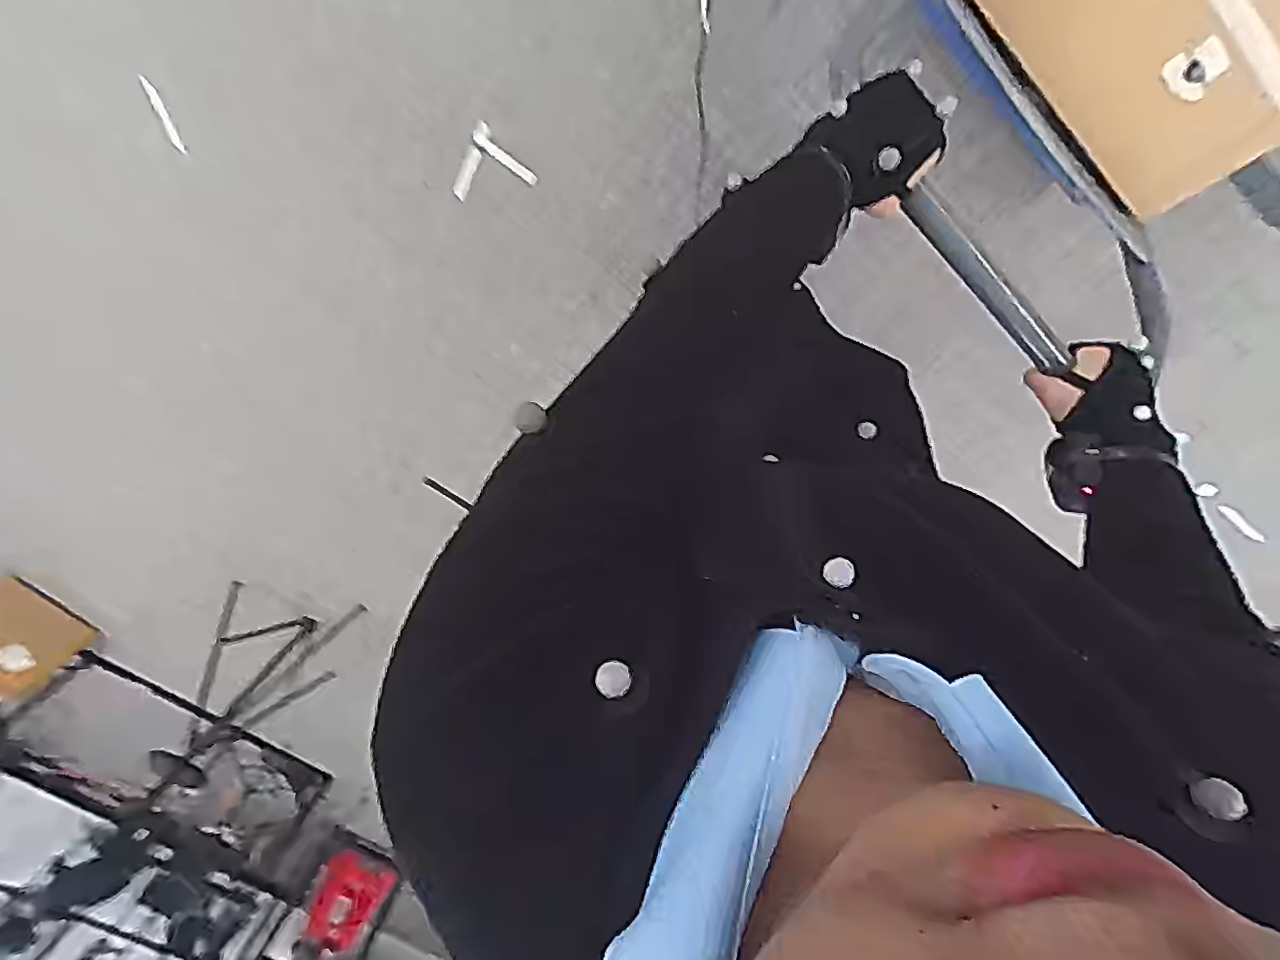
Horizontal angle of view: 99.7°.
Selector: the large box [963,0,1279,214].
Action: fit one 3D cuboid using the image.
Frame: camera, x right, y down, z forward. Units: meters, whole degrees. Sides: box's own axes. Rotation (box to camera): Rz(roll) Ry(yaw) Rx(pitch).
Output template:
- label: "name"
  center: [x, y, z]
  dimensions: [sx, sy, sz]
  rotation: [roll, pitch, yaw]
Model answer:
- label: "large box"
  center: [0.670, -0.645, 0.682]
  dimensions: [0.408, 0.320, 0.320]
  rotation: [39, 141, -13]
